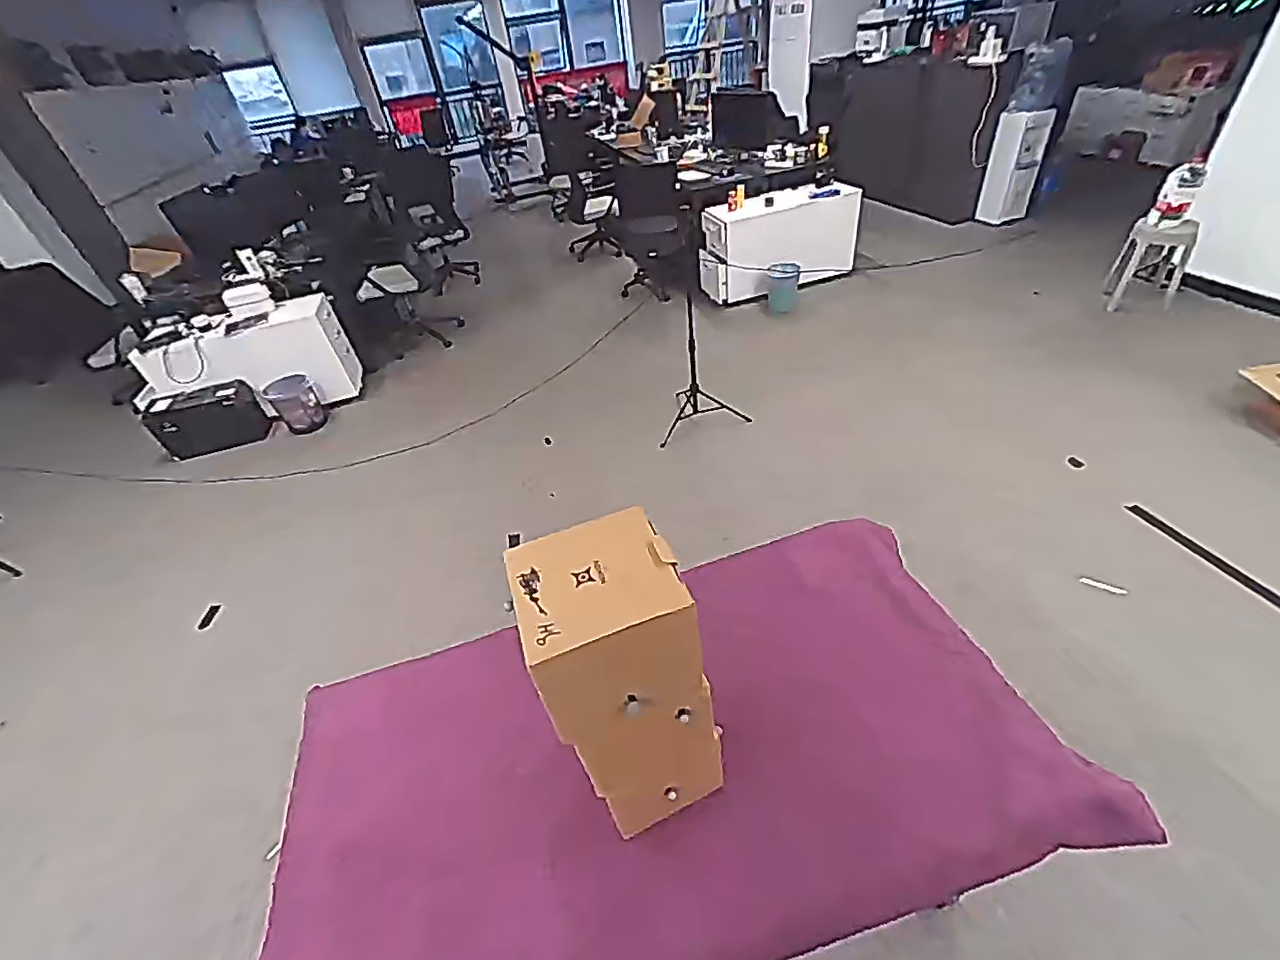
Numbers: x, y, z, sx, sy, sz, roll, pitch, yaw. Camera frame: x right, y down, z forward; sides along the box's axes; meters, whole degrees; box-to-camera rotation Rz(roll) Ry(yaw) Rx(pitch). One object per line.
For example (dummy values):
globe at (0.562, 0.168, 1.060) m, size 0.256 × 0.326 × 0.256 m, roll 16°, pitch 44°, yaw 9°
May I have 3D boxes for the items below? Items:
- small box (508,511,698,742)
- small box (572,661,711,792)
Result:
small box at (-0.041, 0.170, 0.636) m, size 0.179 × 0.176 × 0.168 m, roll -17°, pitch 39°, yaw -11°
small box at (-0.013, 0.291, 0.743) m, size 0.179 × 0.176 × 0.168 m, roll -18°, pitch 40°, yaw -10°
